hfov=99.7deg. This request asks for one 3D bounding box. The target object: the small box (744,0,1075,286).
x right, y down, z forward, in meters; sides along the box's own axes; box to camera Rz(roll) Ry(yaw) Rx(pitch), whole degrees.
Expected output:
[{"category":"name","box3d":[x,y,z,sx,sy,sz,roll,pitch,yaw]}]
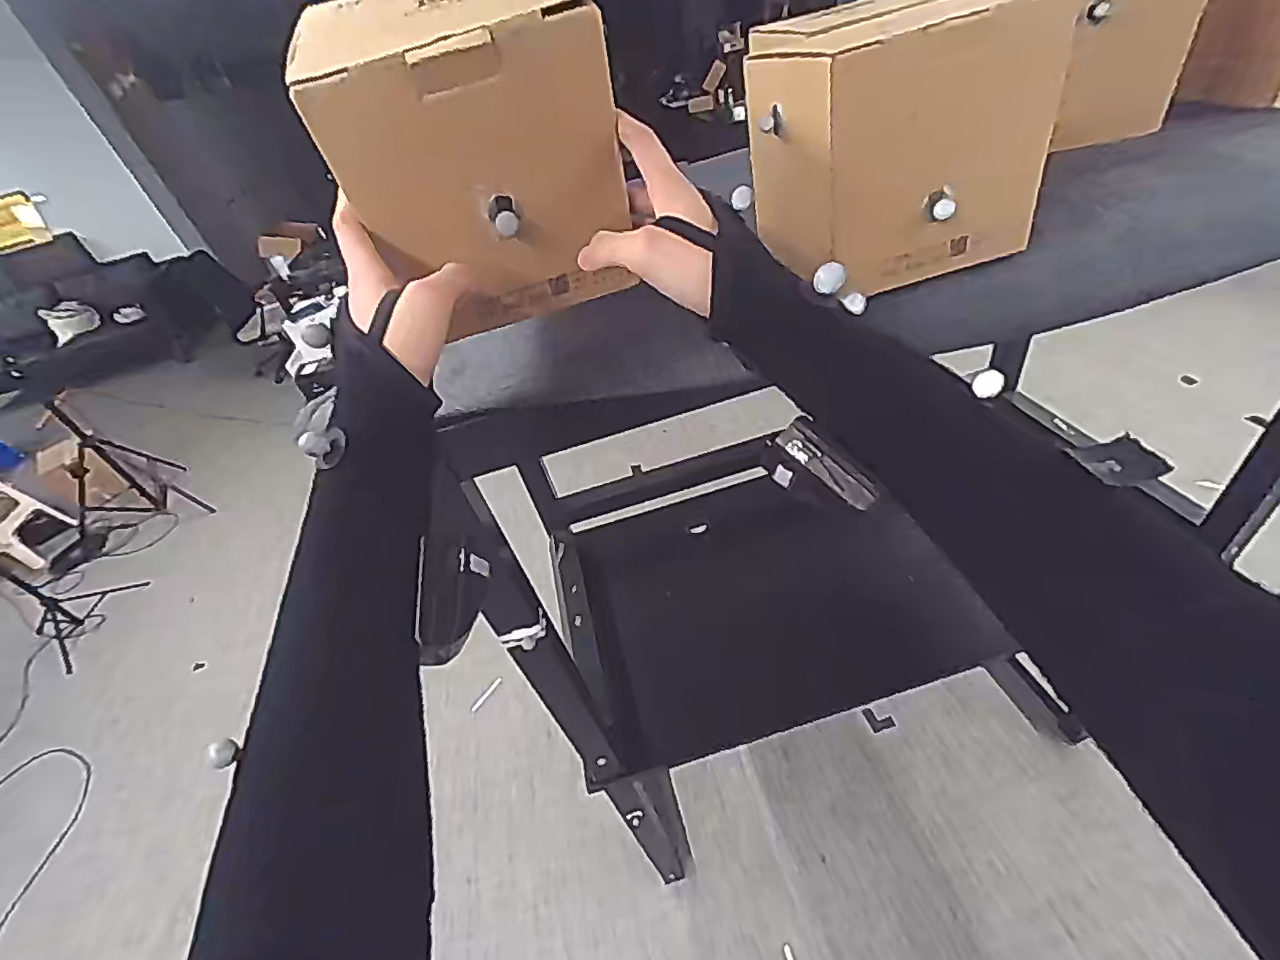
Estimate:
[{"category":"small box","box3d":[0.196,-0.281,0.445,0.168,0.176,0.179,-17,39,0]}]

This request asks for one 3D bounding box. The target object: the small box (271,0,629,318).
[{"category":"small box","box3d":[-0.116,-0.236,0.378,0.168,0.176,0.179,-19,54,-5]}]

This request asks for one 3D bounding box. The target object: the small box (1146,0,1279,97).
[{"category":"small box","box3d":[0.711,-0.528,0.574,0.168,0.176,0.179,-14,41,2]}]
